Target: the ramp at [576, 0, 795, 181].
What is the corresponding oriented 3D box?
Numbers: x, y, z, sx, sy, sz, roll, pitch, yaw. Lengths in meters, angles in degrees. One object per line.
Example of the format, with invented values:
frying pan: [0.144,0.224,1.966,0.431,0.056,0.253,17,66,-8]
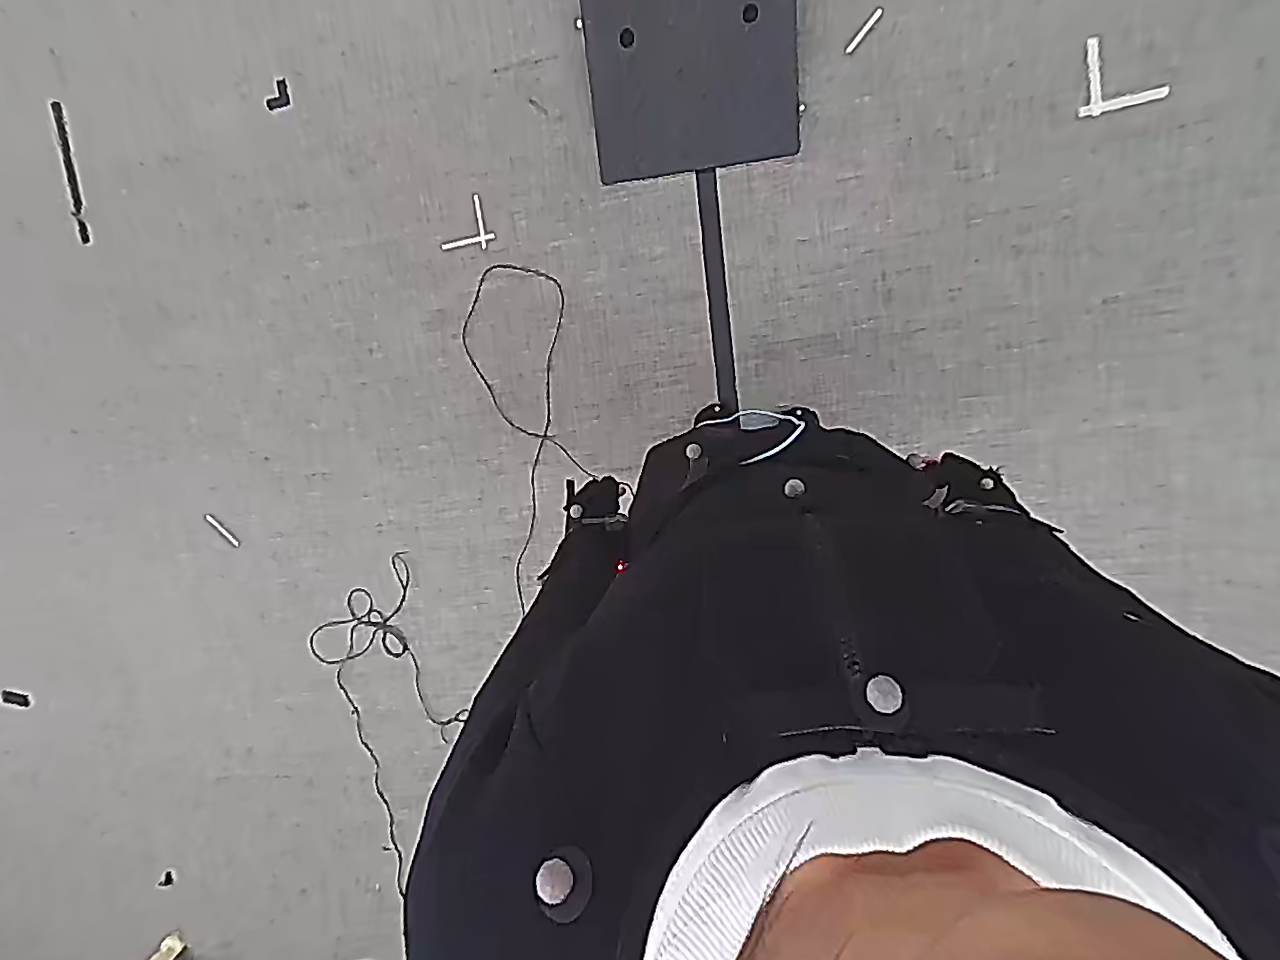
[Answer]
ramp: [0.079,-1.247,1.185,0.509,0.206,0.991,-6,98,9]
